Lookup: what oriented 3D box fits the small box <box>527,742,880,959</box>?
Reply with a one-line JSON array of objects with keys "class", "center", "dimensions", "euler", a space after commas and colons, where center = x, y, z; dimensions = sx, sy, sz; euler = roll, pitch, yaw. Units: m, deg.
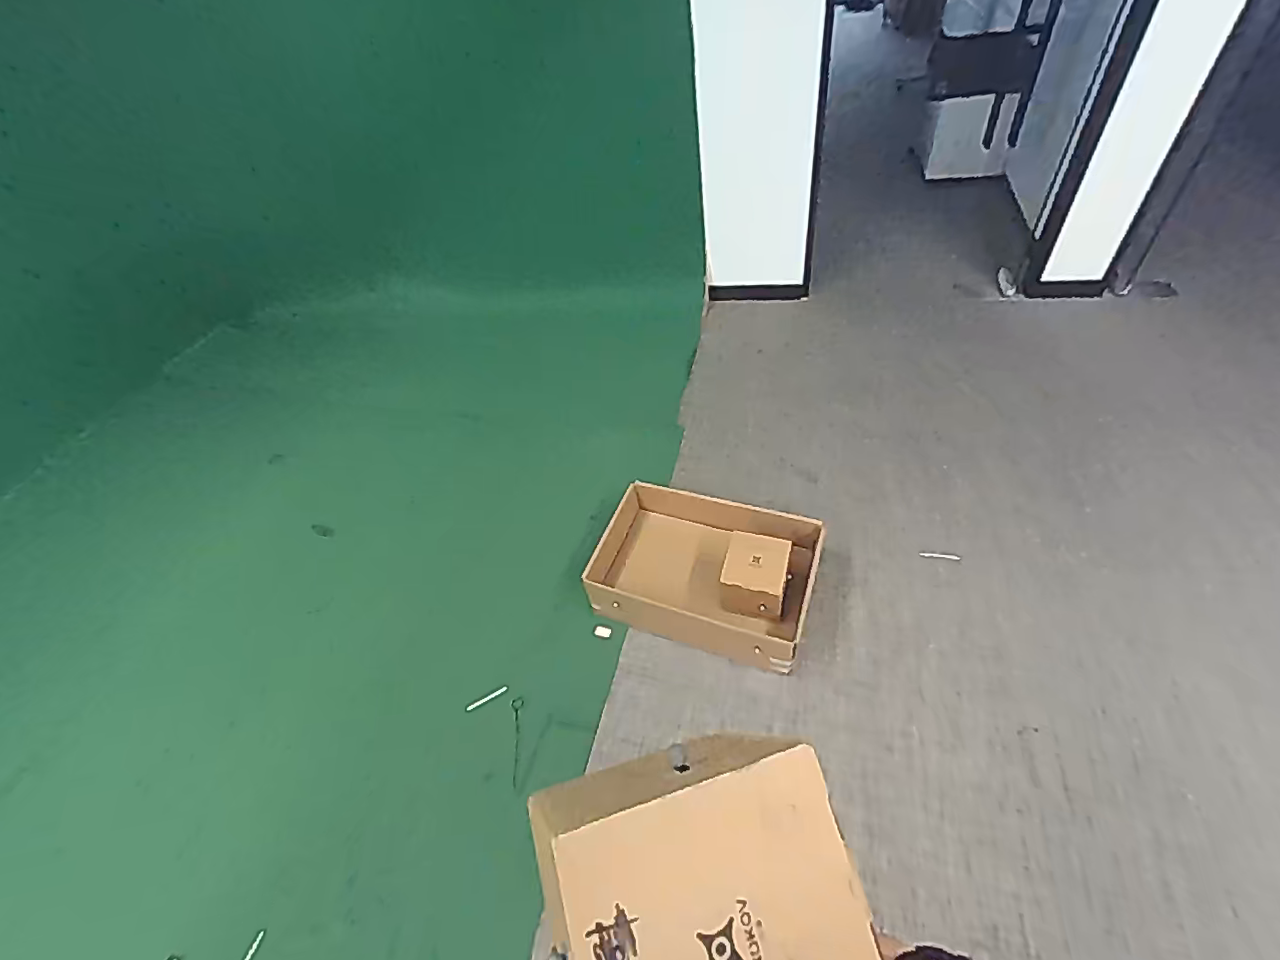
[{"class": "small box", "center": [0.029, 0.290, 0.369], "dimensions": [0.179, 0.176, 0.168], "euler": [-8, 69, -20]}]
